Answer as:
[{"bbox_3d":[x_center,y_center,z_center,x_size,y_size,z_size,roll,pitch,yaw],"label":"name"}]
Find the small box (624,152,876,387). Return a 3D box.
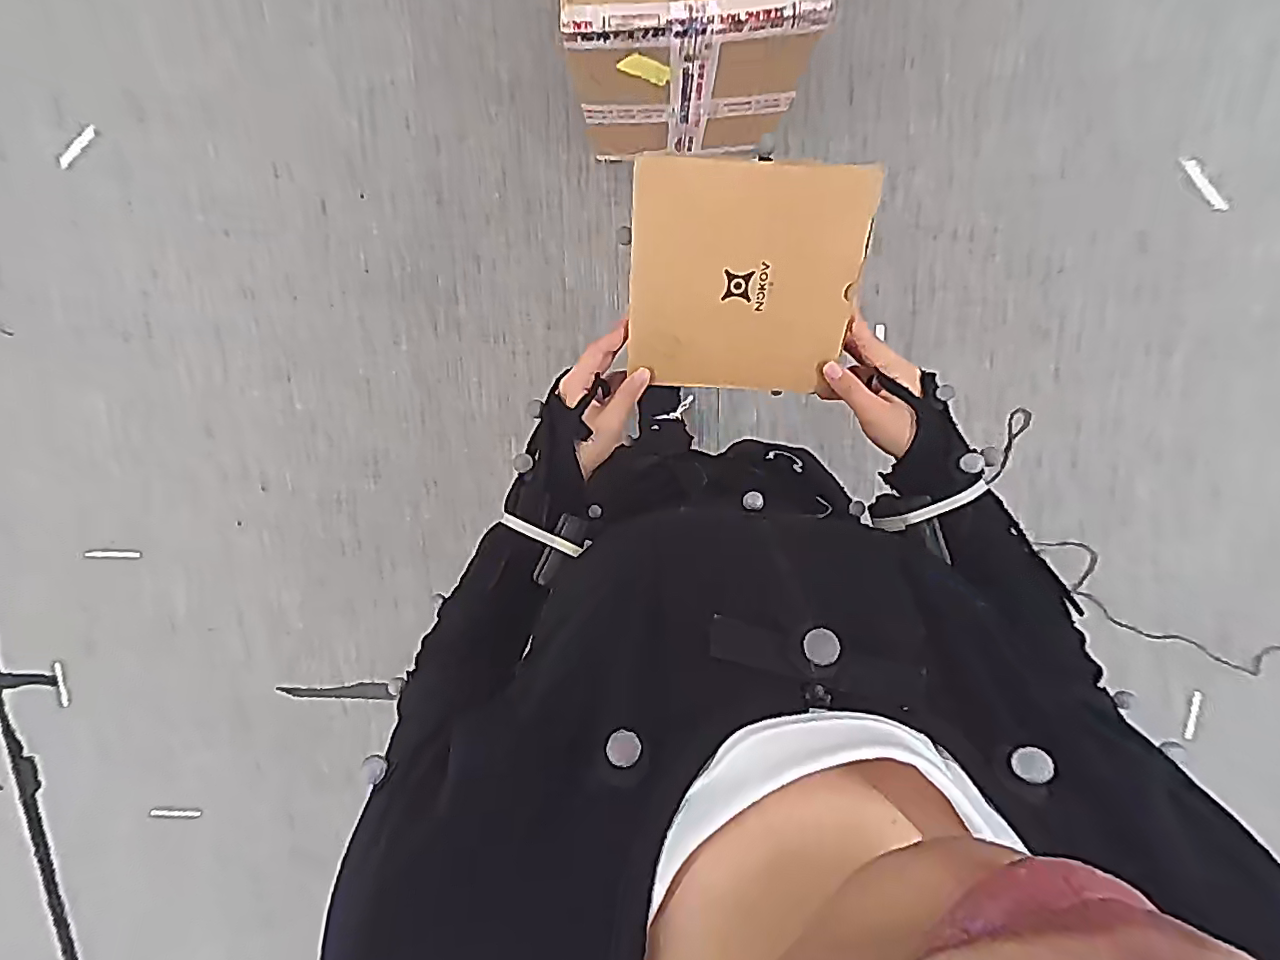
[{"bbox_3d":[0.079,-0.195,0.490,0.179,0.176,0.168,3,121,-1],"label":"small box"}]
